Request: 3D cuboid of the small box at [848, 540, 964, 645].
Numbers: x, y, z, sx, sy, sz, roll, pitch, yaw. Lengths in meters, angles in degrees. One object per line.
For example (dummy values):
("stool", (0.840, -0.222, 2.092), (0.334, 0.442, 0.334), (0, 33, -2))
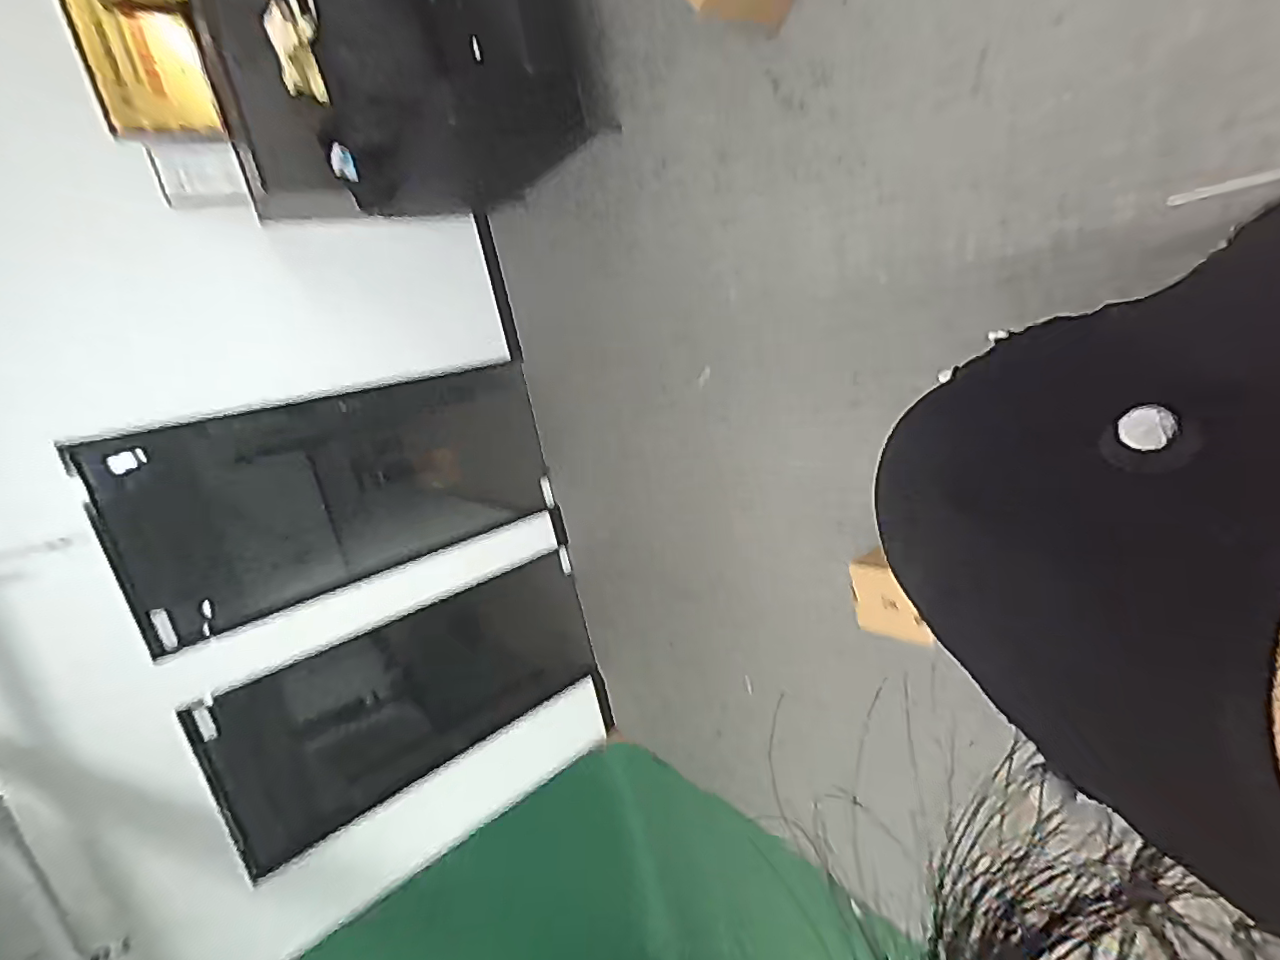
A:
("small box", (0.611, 0.248, 1.243), (0.179, 0.176, 0.168), (3, 110, 53))
